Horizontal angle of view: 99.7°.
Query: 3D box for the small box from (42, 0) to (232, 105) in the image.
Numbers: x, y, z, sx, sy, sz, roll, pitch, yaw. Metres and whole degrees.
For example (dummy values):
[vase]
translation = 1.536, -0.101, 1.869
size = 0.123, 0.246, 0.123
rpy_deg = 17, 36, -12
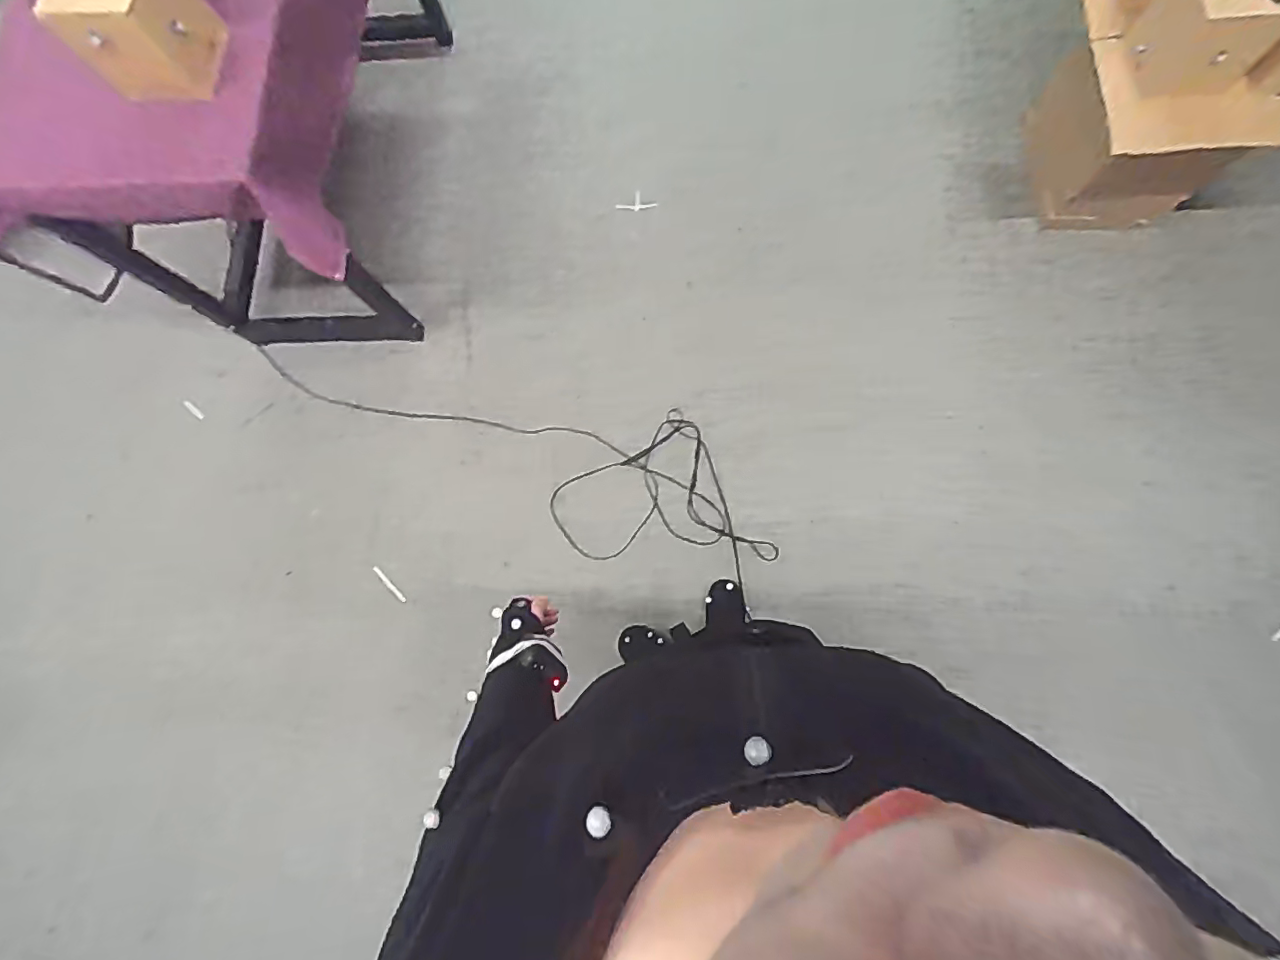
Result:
[small box]
translation = -0.899, -0.821, 0.985
size = 0.179, 0.176, 0.168
rpy_deg = 4, 79, 6
